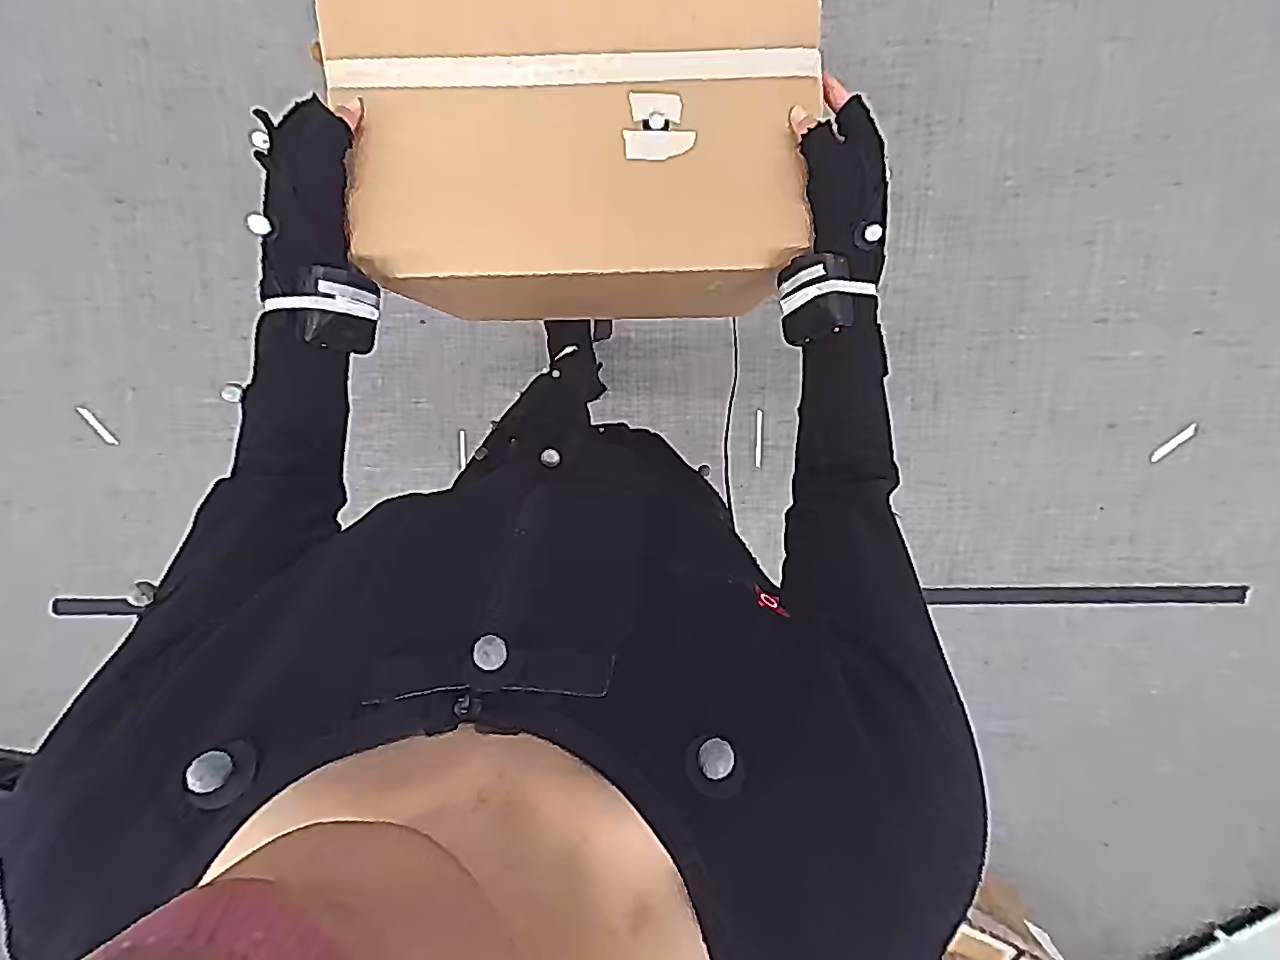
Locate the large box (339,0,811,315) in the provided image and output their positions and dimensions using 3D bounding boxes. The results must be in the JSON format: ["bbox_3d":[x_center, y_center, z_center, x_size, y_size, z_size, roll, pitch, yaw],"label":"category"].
[{"bbox_3d":[-0.056,-0.373,0.610,0.408,0.320,0.320,-2,101,-1],"label":"large box"}]
